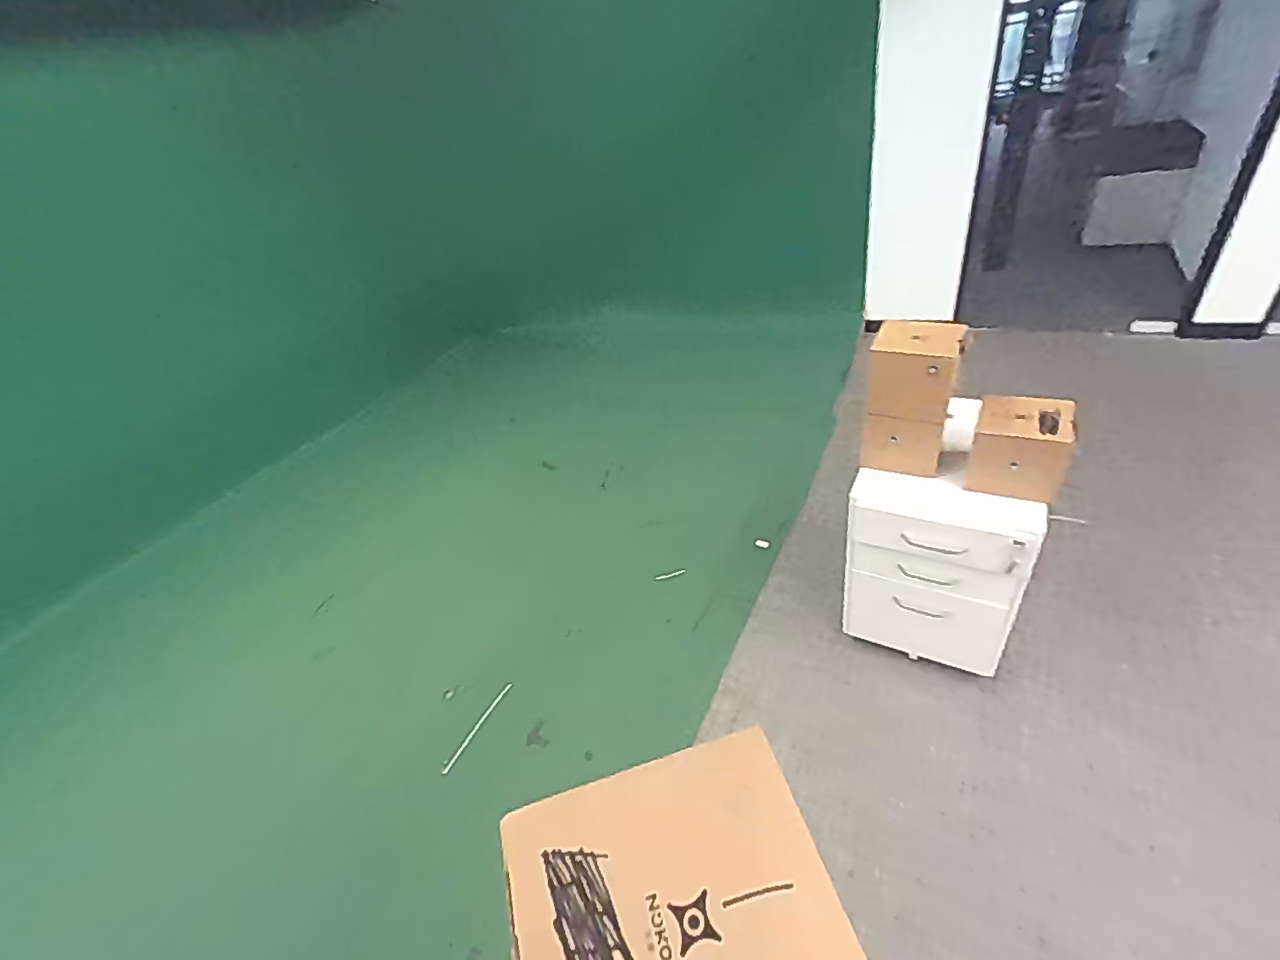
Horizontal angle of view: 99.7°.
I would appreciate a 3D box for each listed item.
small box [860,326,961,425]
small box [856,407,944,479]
[{"bbox_3d":[0.630,-0.247,1.273,0.179,0.176,0.168,15,44,29],"label":"small box"},{"bbox_3d":[0.659,-0.122,1.374,0.179,0.176,0.168,12,44,29],"label":"small box"}]
